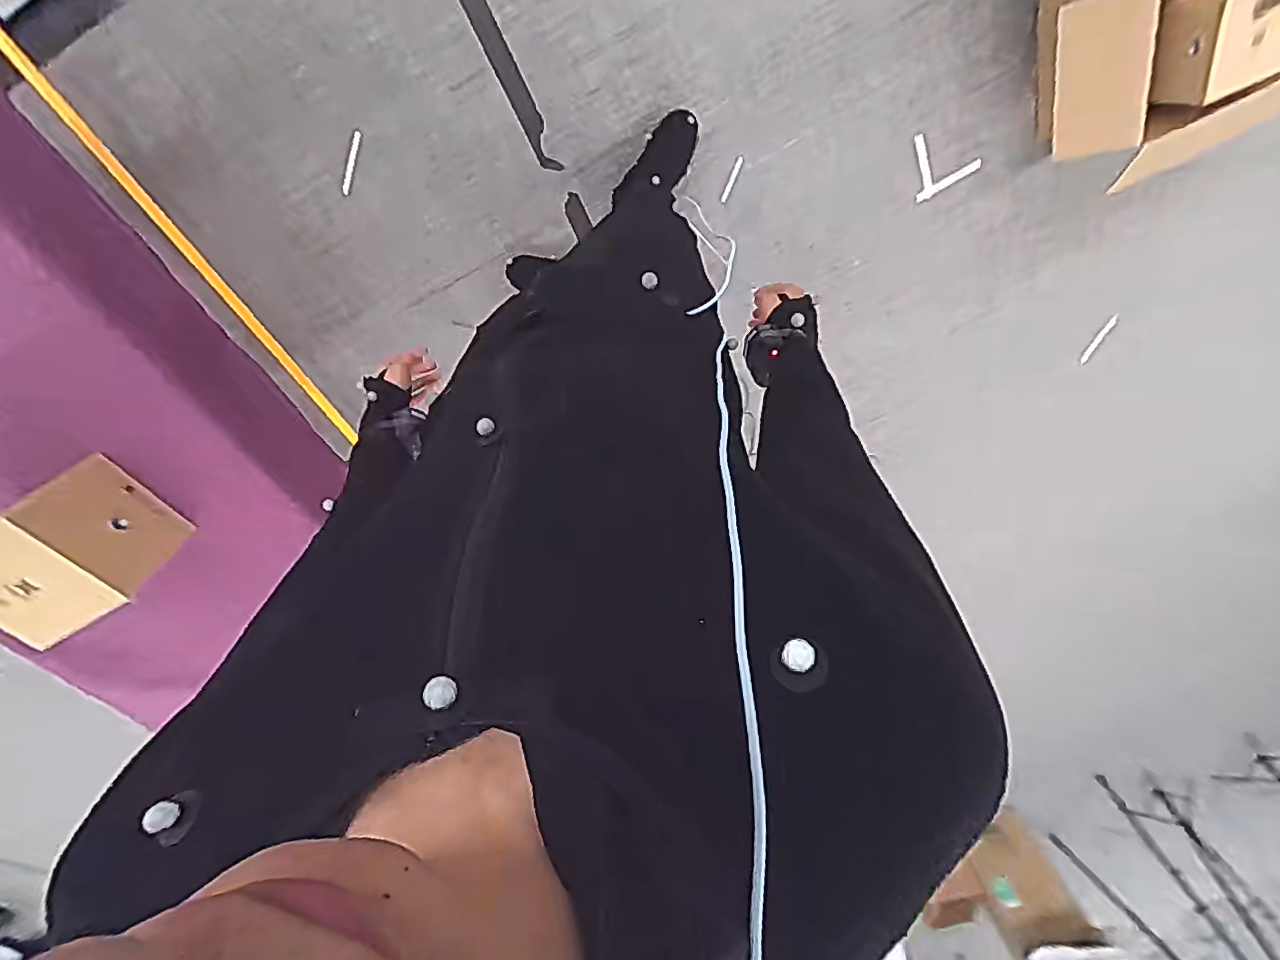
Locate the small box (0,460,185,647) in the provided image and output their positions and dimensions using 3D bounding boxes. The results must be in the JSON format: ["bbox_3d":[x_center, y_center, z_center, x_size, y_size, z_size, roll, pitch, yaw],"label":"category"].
[{"bbox_3d":[-0.816,0.099,0.778,0.179,0.176,0.168,-27,121,9],"label":"small box"}]
